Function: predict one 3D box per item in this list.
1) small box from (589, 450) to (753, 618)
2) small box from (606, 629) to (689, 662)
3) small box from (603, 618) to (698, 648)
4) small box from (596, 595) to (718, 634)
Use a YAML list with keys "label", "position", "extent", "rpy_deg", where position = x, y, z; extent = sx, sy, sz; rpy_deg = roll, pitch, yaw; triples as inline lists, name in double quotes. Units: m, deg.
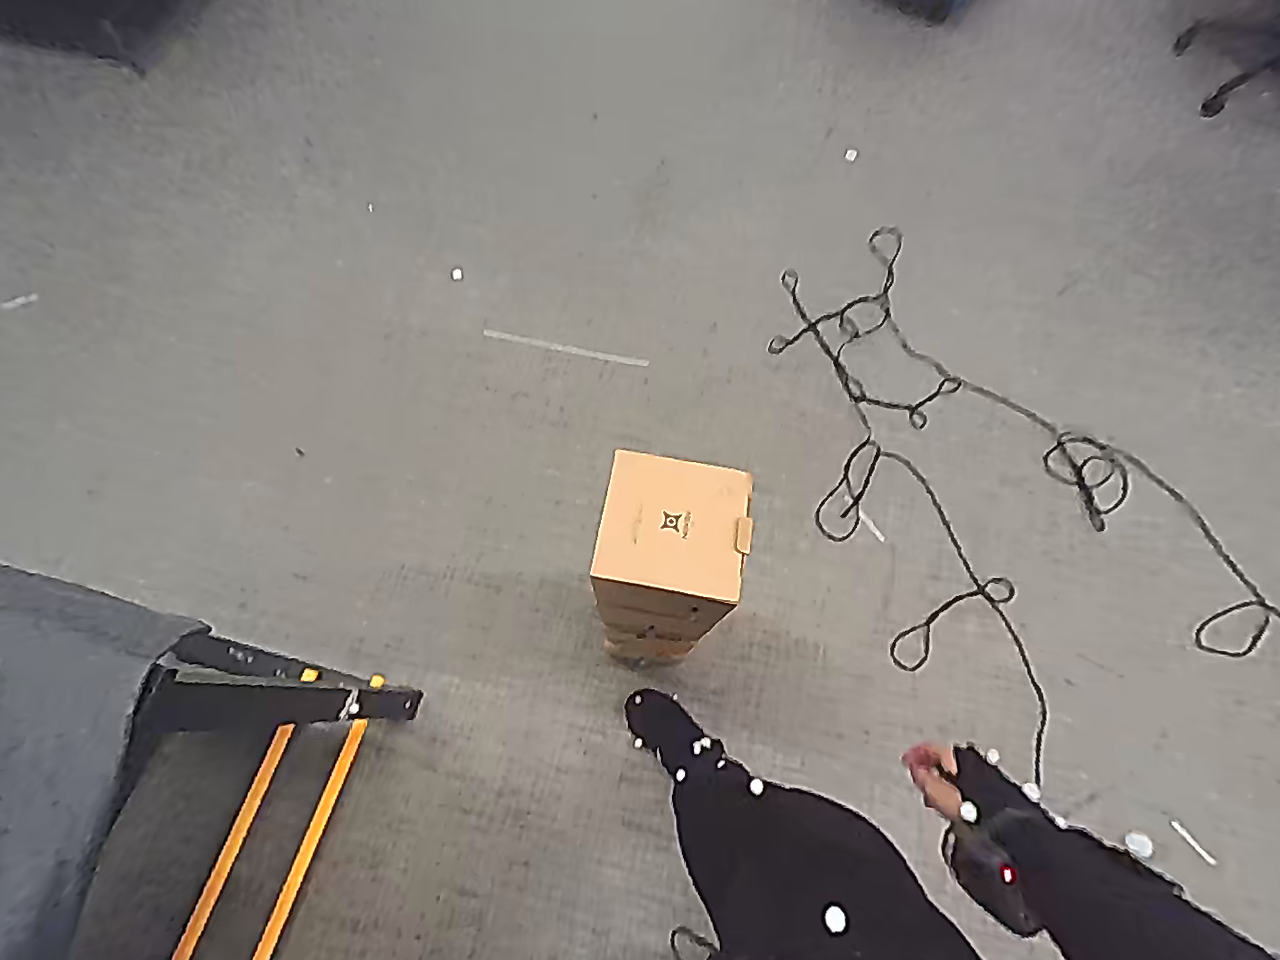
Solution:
- label: "small box"
  position: [0.039, 0.080, 0.714]
  extent: [0.179, 0.176, 0.168]
  rpy_deg: [9, 67, 3]
- label: "small box"
  position: [0.024, 0.283, 1.160]
  extent: [0.168, 0.176, 0.179]
  rpy_deg: [8, 68, 3]
- label: "small box"
  position: [0.030, 0.210, 1.013]
  extent: [0.168, 0.176, 0.179]
  rpy_deg: [9, 67, 2]
- label: "small box"
  position: [0.032, 0.144, 0.863]
  extent: [0.179, 0.176, 0.168]
  rpy_deg: [10, 67, 2]
